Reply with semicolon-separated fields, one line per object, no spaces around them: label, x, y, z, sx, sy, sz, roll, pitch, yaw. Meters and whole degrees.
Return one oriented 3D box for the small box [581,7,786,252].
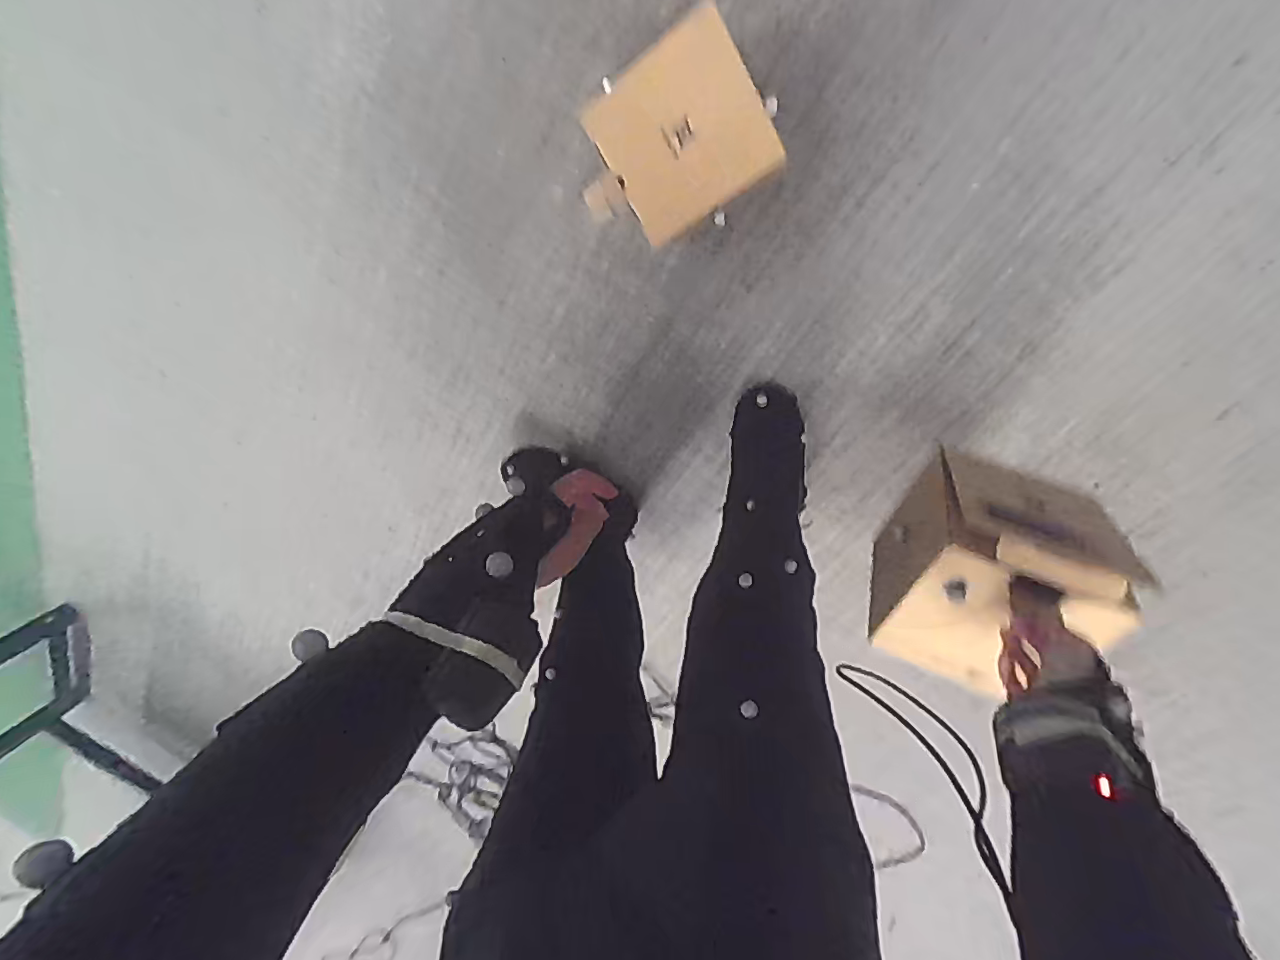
small box;0.062;-0.406;0.658;0.179;0.176;0.168;-26;106;26
